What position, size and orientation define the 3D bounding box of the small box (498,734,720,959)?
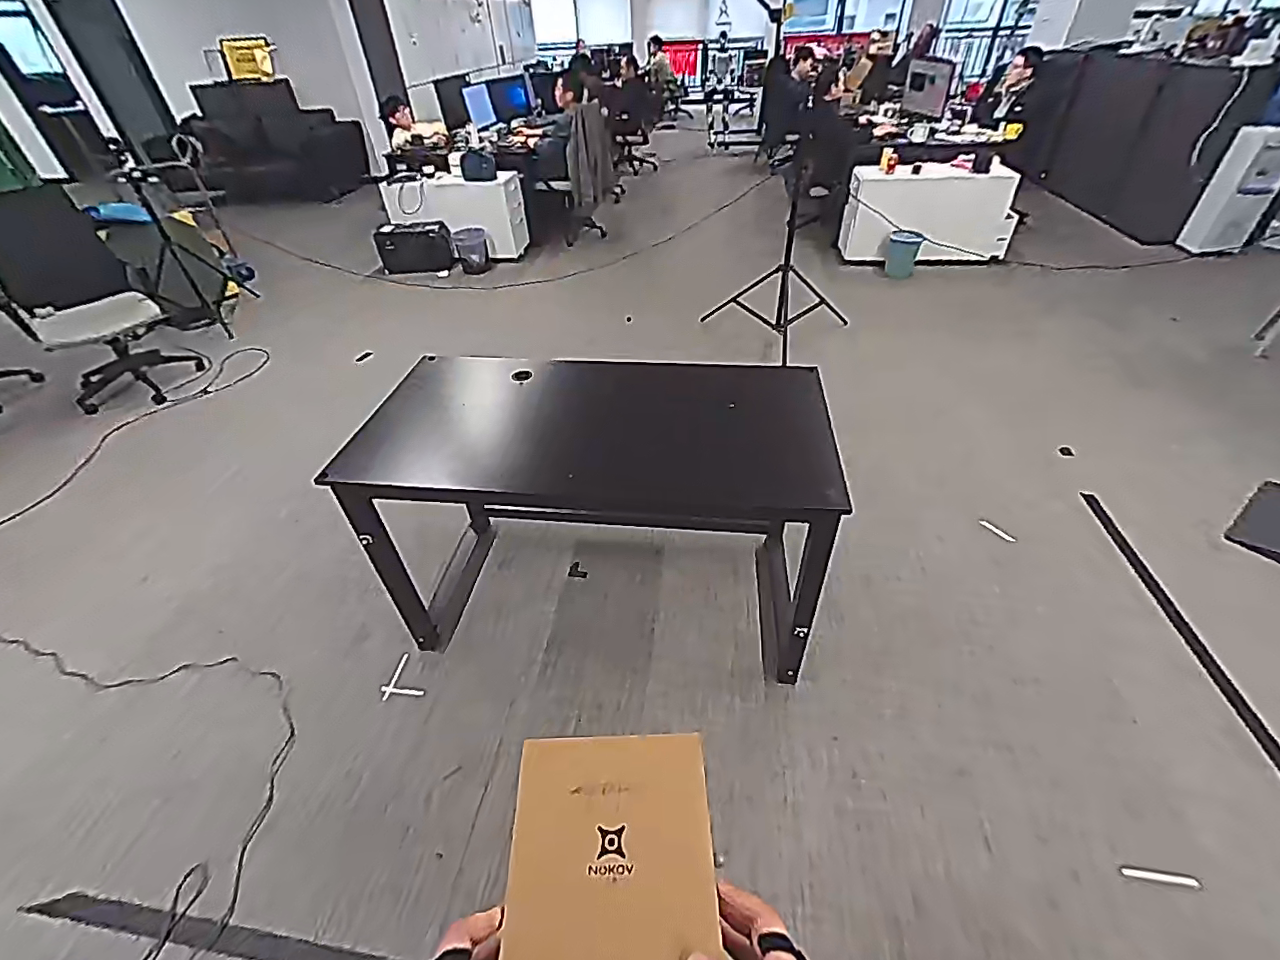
[{"bbox_3d":[-0.023,0.356,0.496,0.168,0.176,0.179,-2,45,-1],"label":"small box"}]
